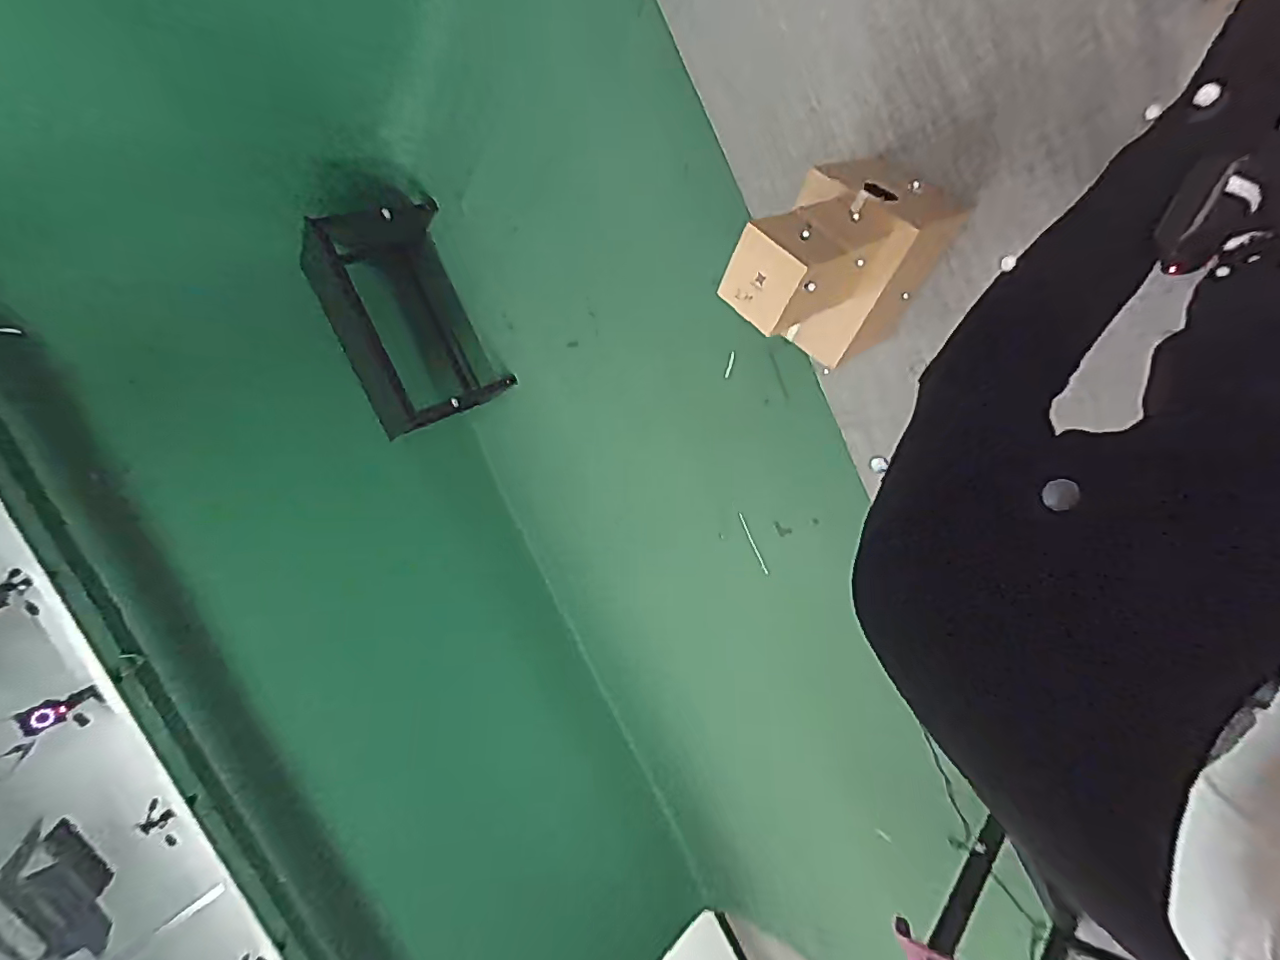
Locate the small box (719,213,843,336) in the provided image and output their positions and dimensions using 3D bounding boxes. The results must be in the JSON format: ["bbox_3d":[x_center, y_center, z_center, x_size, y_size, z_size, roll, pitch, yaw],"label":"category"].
[{"bbox_3d":[0.310,-0.452,1.175,0.168,0.176,0.179,48,145,18],"label":"small box"}]

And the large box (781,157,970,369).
[{"bbox_3d":[0.583,-0.586,1.460,0.320,0.320,0.408,46,145,22],"label":"large box"}]
